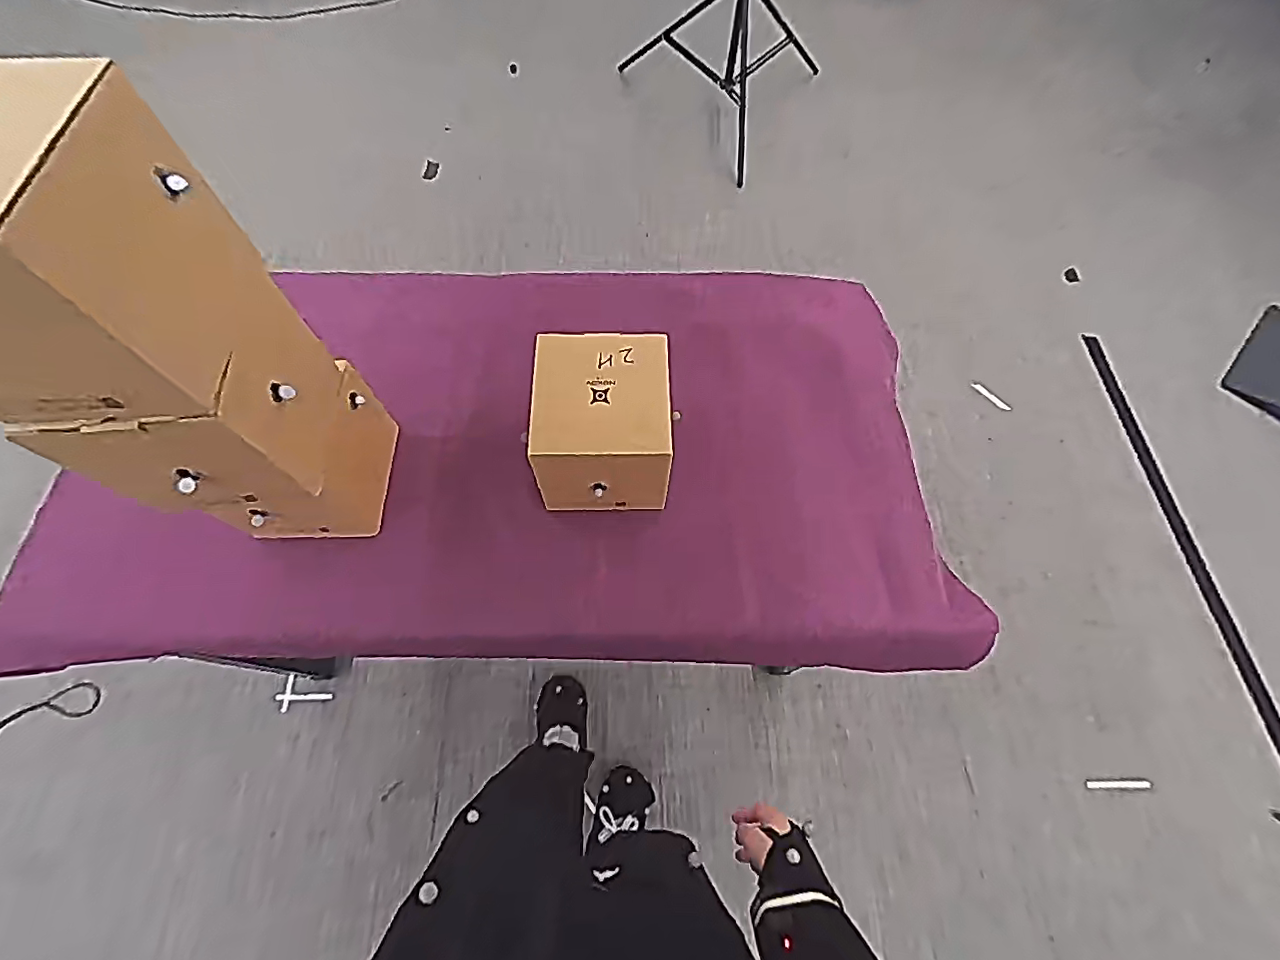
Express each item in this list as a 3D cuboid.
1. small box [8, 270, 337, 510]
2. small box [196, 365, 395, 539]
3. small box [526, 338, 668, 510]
[{"bbox_3d":[-0.430,-0.077,0.539,0.168,0.176,0.179,-5,65,-4],"label":"small box"},{"bbox_3d":[-0.438,-0.027,0.696,0.168,0.176,0.179,-1,65,-2],"label":"small box"},{"bbox_3d":[-0.050,-0.067,0.720,0.168,0.176,0.179,0,65,-2],"label":"small box"}]
